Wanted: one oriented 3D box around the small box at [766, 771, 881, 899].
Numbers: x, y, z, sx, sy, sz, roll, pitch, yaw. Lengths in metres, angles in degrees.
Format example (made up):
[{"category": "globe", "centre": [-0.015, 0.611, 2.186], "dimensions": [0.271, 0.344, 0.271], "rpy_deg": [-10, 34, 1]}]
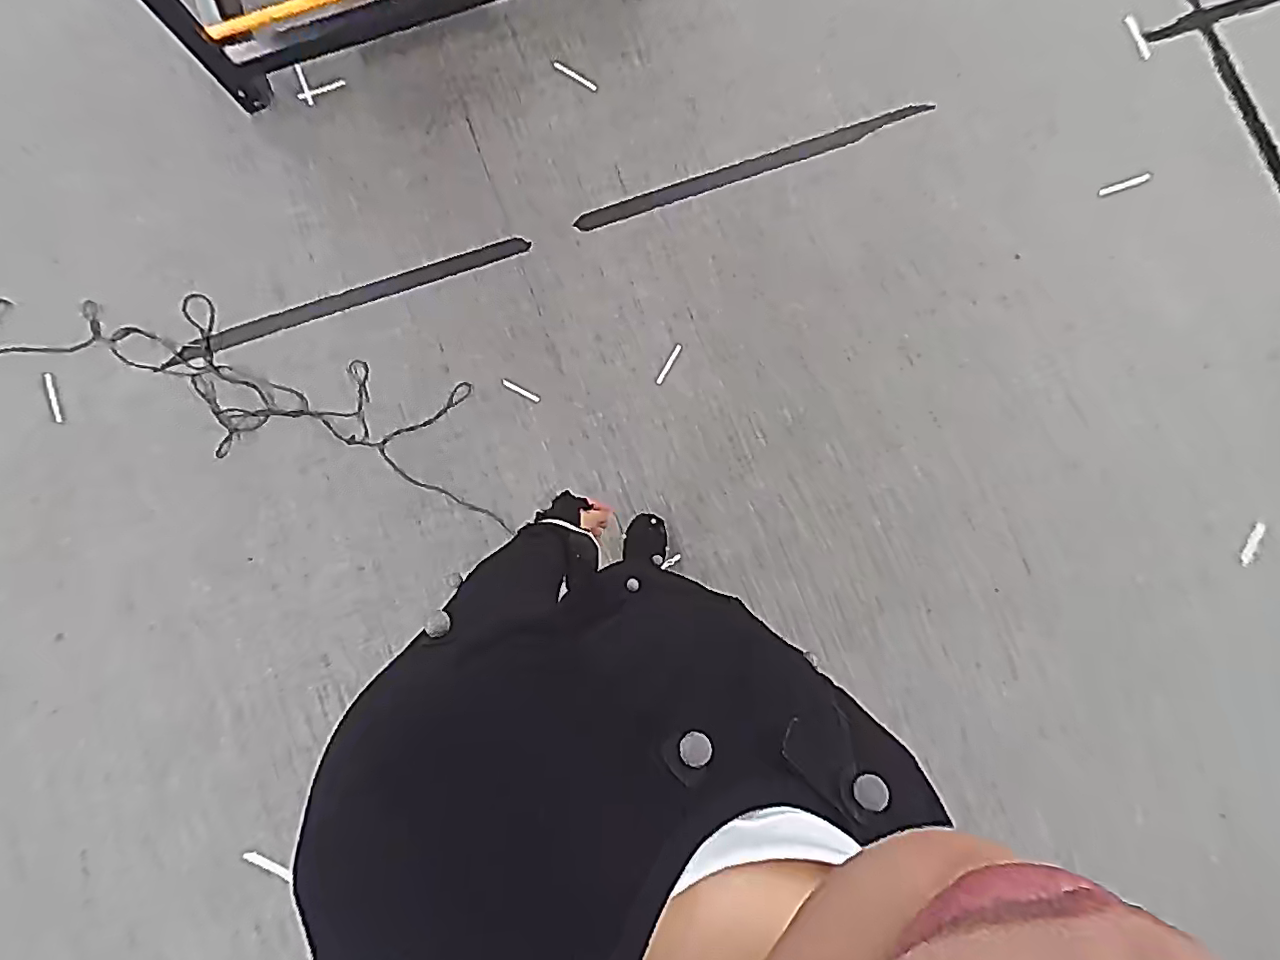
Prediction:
[{"category": "small box", "centre": [0.419, 0.819, 1.253], "dimensions": [0.179, 0.176, 0.168], "rpy_deg": [-20, 85, -2]}]
